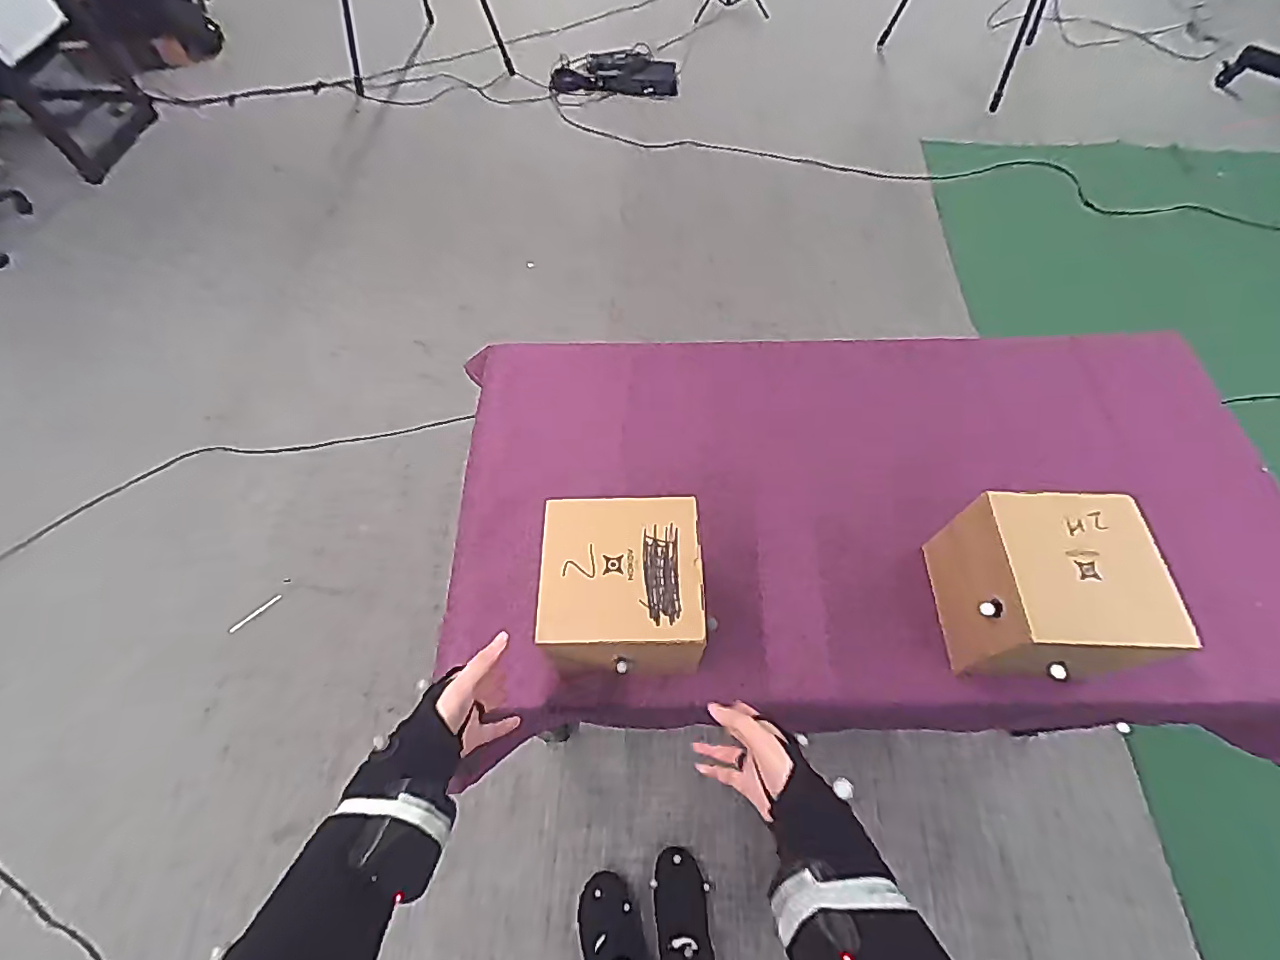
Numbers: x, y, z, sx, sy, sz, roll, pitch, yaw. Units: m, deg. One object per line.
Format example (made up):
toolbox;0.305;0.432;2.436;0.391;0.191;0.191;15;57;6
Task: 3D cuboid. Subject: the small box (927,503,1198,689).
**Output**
small box;0.476;0.145;0.646;0.168;0.176;0.179;3;59;2
